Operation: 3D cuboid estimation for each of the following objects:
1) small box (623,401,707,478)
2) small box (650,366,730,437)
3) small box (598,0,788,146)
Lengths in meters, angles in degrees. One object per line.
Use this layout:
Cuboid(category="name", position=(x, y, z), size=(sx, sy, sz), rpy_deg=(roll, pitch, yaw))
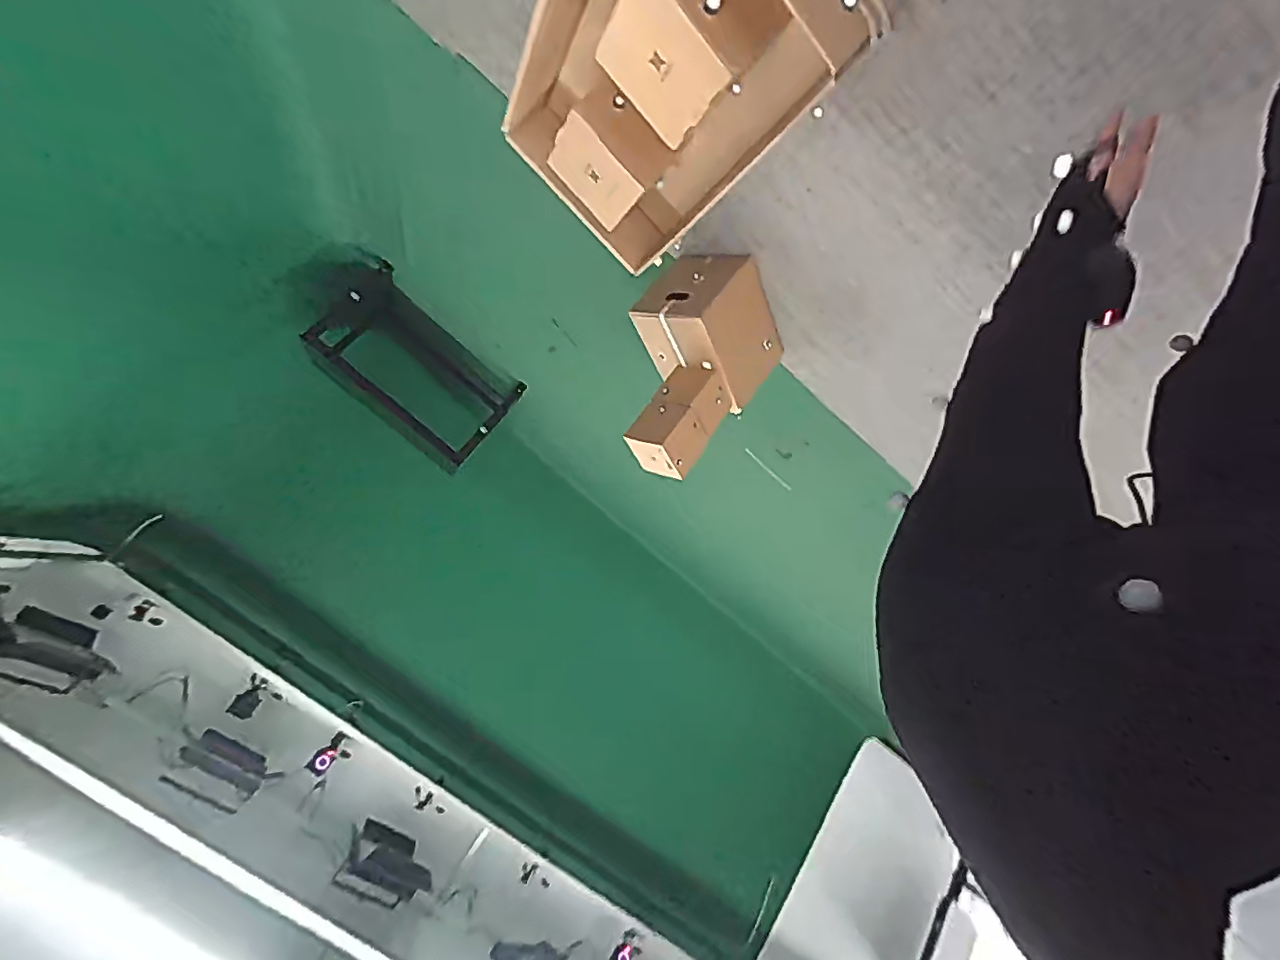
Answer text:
Cuboid(category="small box", position=(0.085, -0.137, 1.741), size=(0.179, 0.176, 0.168), rpy_deg=(18, 153, 42))
Cuboid(category="small box", position=(0.170, -0.262, 1.804), size=(0.179, 0.176, 0.168), rpy_deg=(17, 153, 41))
Cuboid(category="small box", position=(0.076, -0.648, 0.785), size=(0.179, 0.176, 0.168), rpy_deg=(42, 160, -17))
